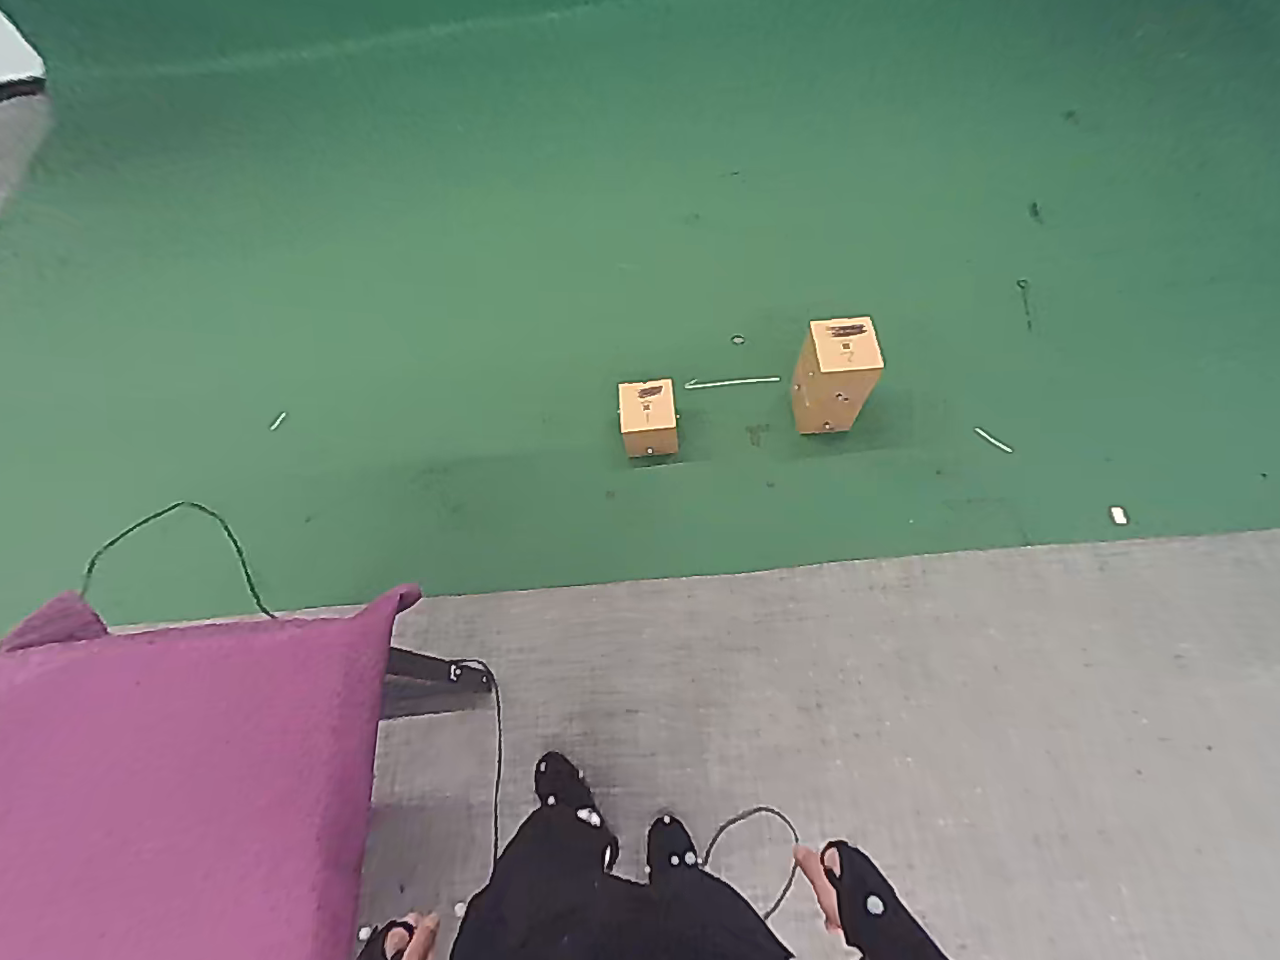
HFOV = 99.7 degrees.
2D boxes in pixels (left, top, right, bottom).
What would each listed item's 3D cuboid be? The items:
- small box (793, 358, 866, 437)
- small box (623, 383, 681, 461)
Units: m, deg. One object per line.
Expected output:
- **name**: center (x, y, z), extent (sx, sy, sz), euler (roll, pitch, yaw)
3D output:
- **small box**: center (0.582, -0.254, 1.682), extent (0.168, 0.176, 0.179), euler (-4, 65, 4)
- **small box**: center (0.039, -0.180, 1.705), extent (0.168, 0.176, 0.179), euler (-6, 65, 4)
